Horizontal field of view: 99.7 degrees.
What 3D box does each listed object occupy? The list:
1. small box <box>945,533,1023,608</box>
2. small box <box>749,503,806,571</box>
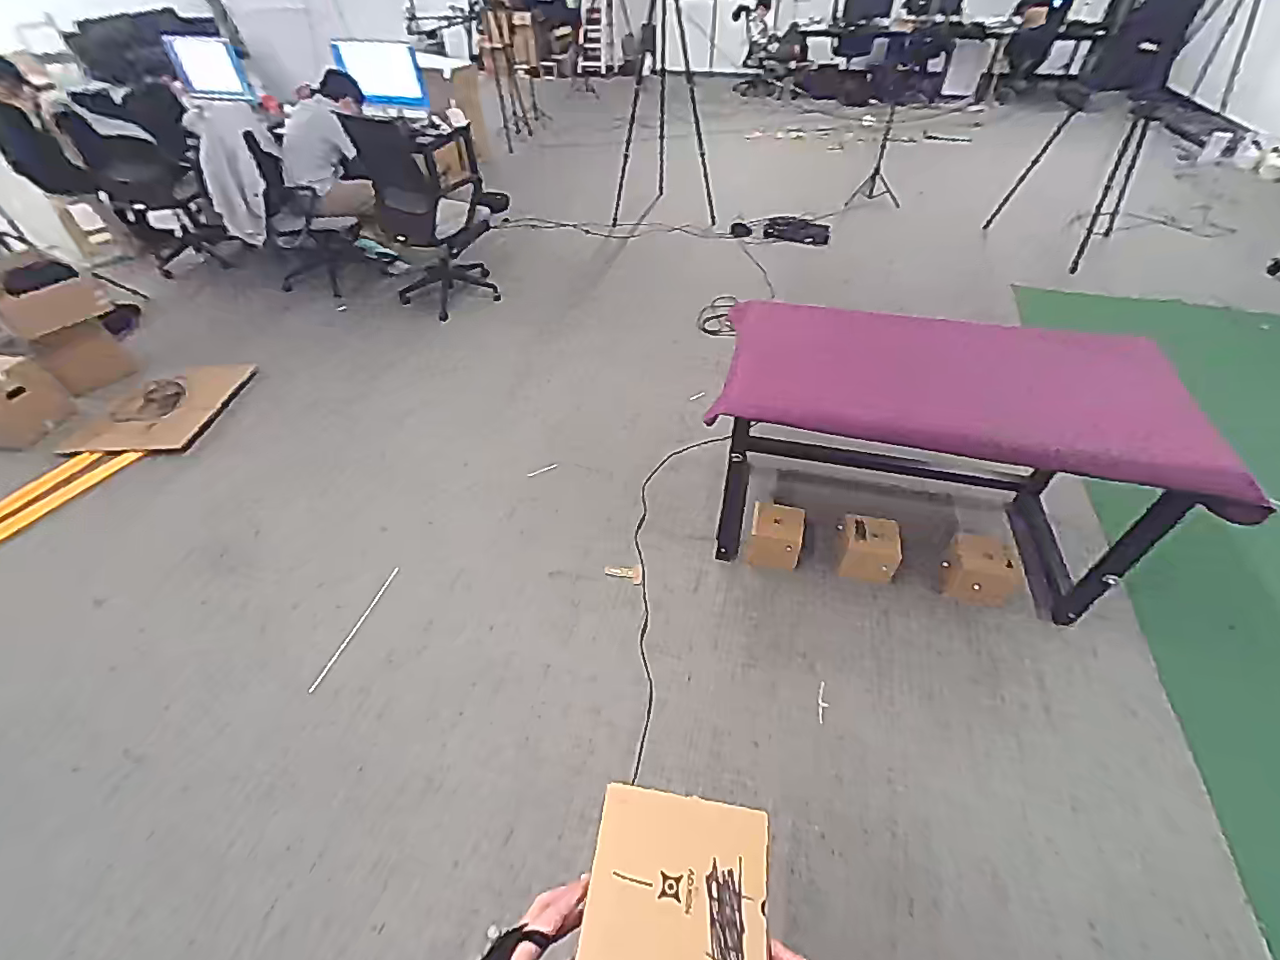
[{"bbox_3d":[1.153,0.310,1.830,0.179,0.176,0.168,12,47,14],"label":"small box"},{"bbox_3d":[0.496,0.208,1.960,0.179,0.176,0.168,10,46,11],"label":"small box"}]
